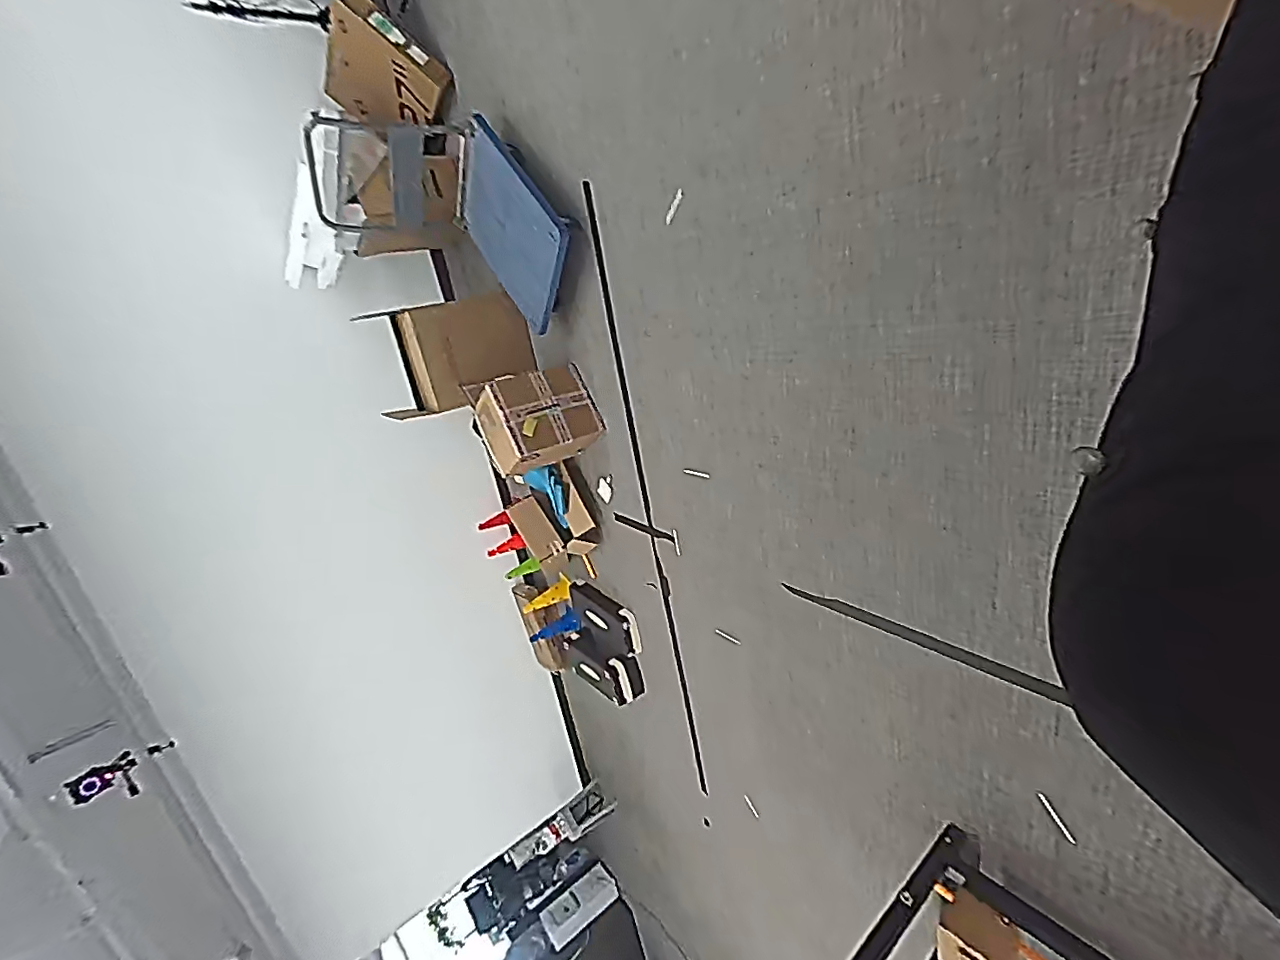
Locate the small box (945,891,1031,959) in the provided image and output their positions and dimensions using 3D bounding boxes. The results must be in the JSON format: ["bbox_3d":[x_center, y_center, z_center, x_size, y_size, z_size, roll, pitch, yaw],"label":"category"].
[{"bbox_3d":[1.027,1.380,1.596,0.168,0.176,0.179,15,122,52],"label":"small box"}]
